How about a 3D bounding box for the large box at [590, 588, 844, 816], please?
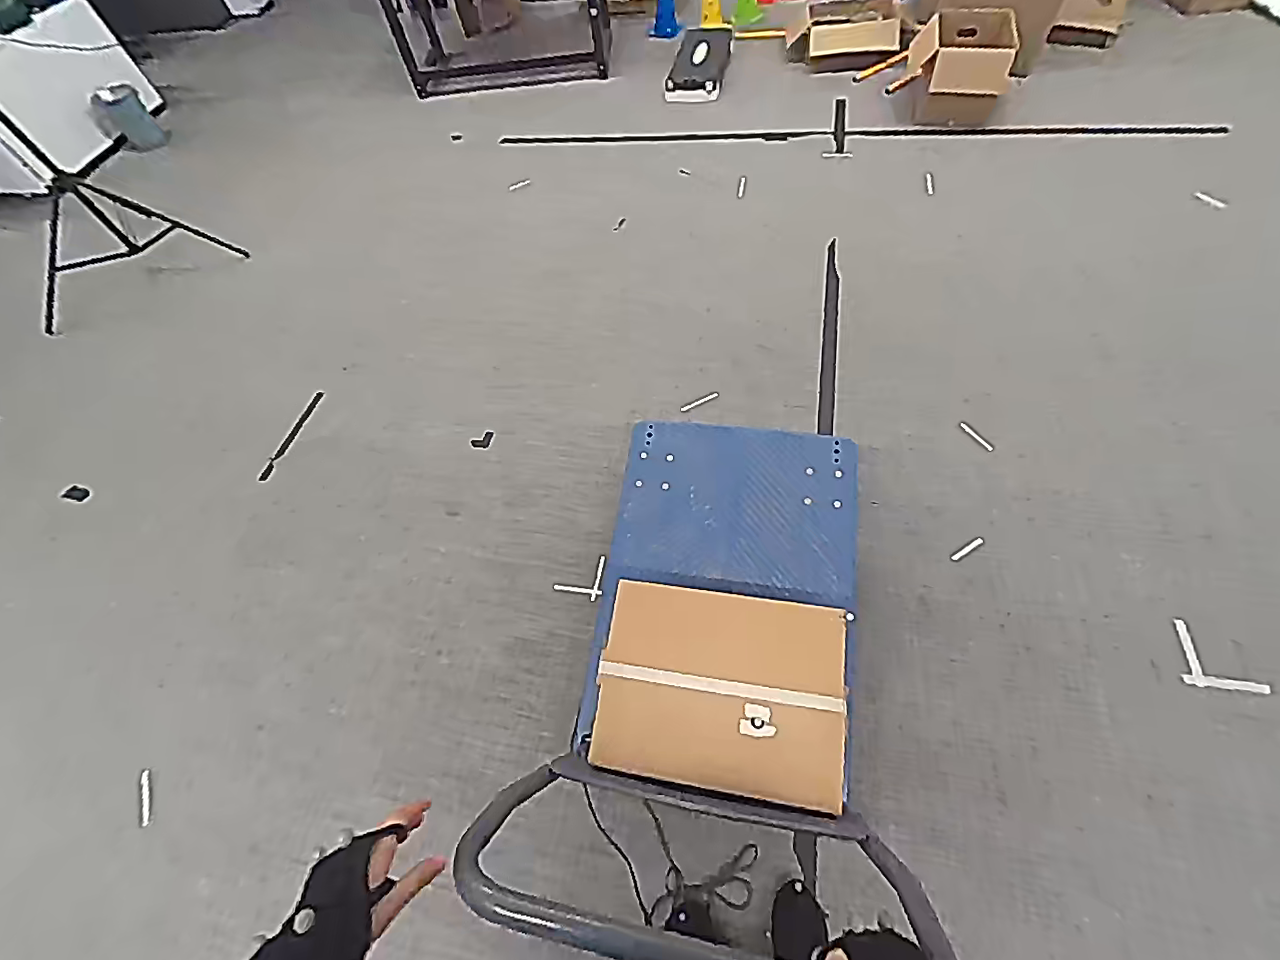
[{"bbox_3d":[0.147,0.410,1.035,0.408,0.320,0.320,5,69,9],"label":"large box"}]
